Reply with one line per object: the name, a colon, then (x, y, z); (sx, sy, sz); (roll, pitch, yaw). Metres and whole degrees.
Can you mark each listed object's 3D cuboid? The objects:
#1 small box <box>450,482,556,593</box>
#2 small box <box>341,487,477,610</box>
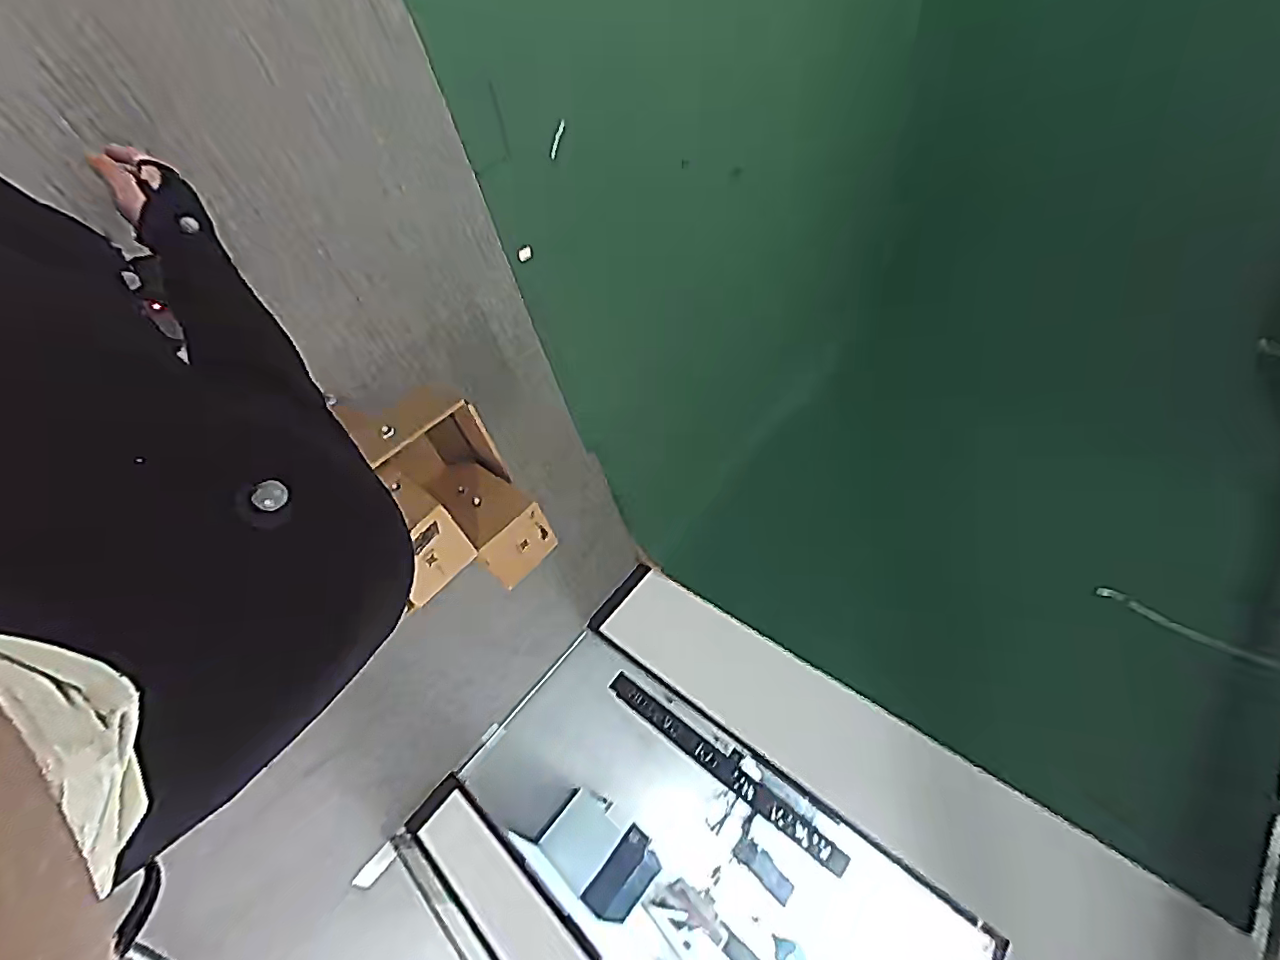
small box: (-0.344, 0.136, 1.328); (0.179, 0.176, 0.168); (-43, 139, -25)
small box: (-0.489, 0.135, 1.145); (0.168, 0.176, 0.179); (-44, 141, -24)
